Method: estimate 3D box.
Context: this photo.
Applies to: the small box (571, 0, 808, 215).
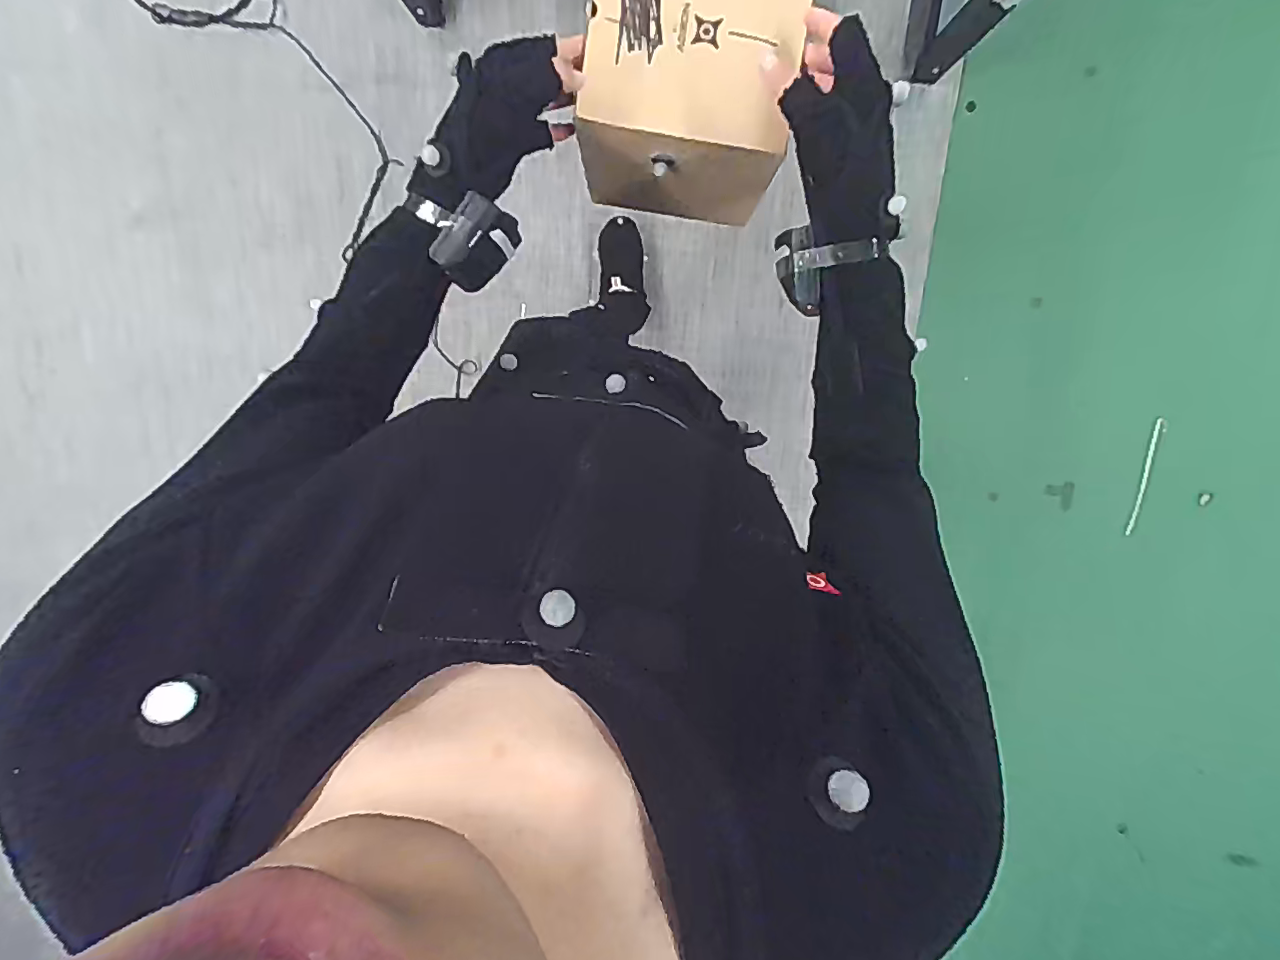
[{"bbox_3d":[0.043,-0.369,0.504,0.179,0.176,0.168,9,97,-1],"label":"small box"}]
